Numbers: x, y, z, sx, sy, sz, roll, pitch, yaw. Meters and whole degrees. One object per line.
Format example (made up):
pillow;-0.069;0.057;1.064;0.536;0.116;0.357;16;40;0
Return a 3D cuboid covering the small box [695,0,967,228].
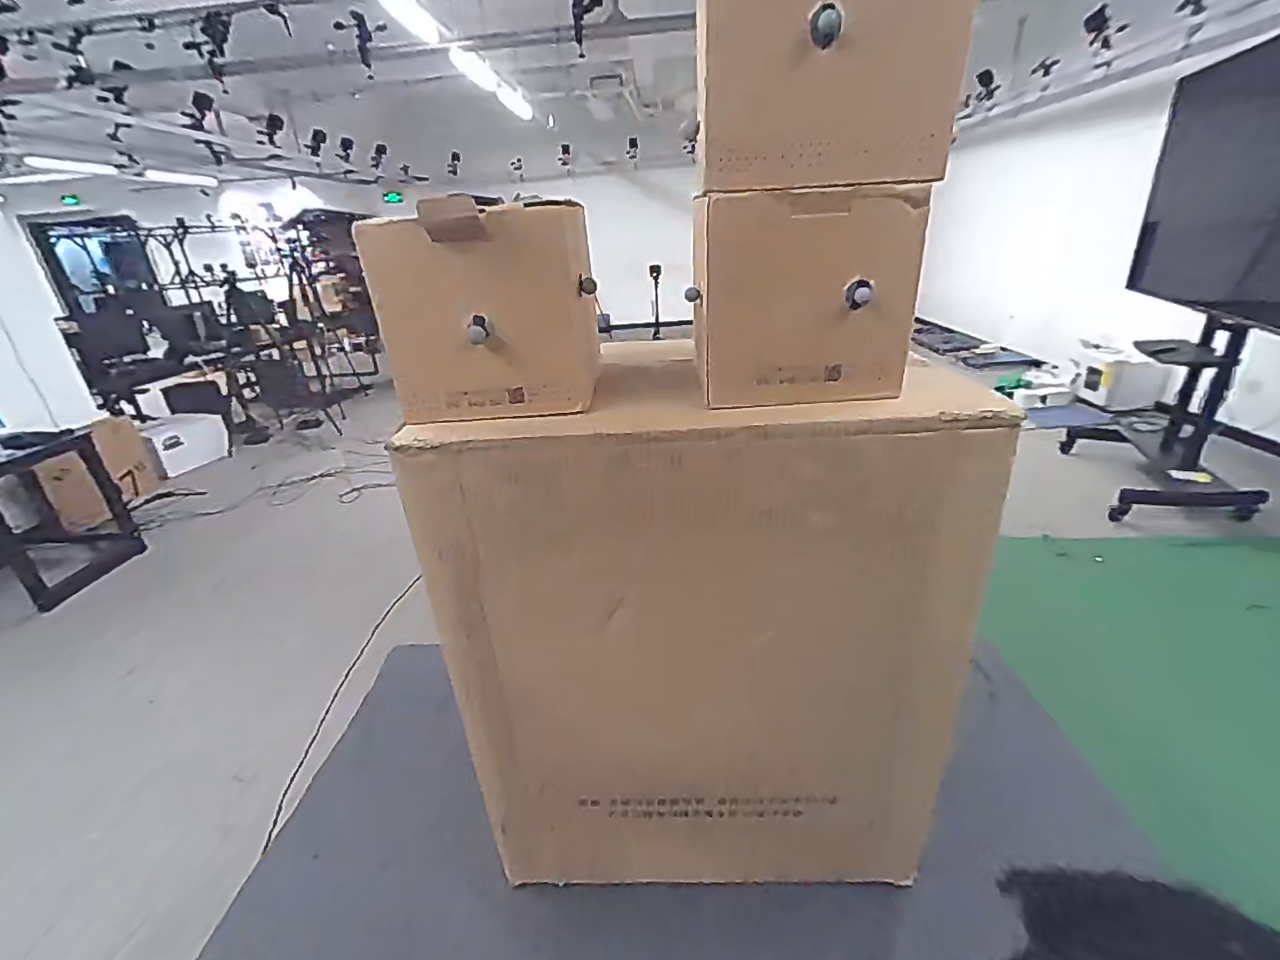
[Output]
small box;0.135;-0.303;0.445;0.179;0.176;0.168;0;26;6

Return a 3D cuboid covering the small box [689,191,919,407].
small box;0.133;-0.170;0.510;0.168;0.176;0.179;-1;25;2

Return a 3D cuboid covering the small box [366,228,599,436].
small box;-0.133;-0.147;0.537;0.168;0.176;0.179;-5;26;0
